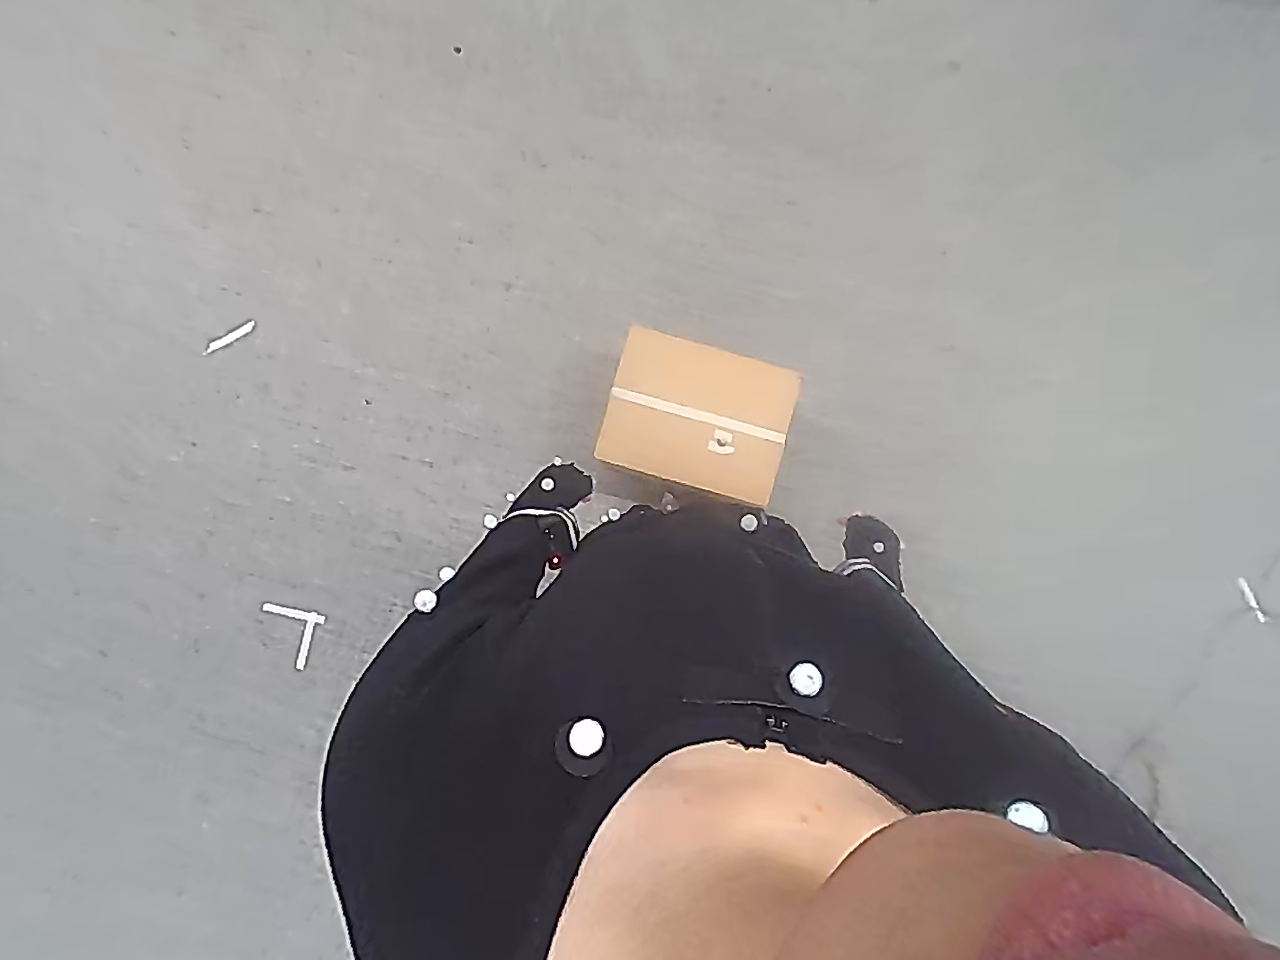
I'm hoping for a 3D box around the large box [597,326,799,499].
[{"bbox_3d":[0.126,-0.147,1.358,0.408,0.320,0.320,15,89,-1],"label":"large box"}]
